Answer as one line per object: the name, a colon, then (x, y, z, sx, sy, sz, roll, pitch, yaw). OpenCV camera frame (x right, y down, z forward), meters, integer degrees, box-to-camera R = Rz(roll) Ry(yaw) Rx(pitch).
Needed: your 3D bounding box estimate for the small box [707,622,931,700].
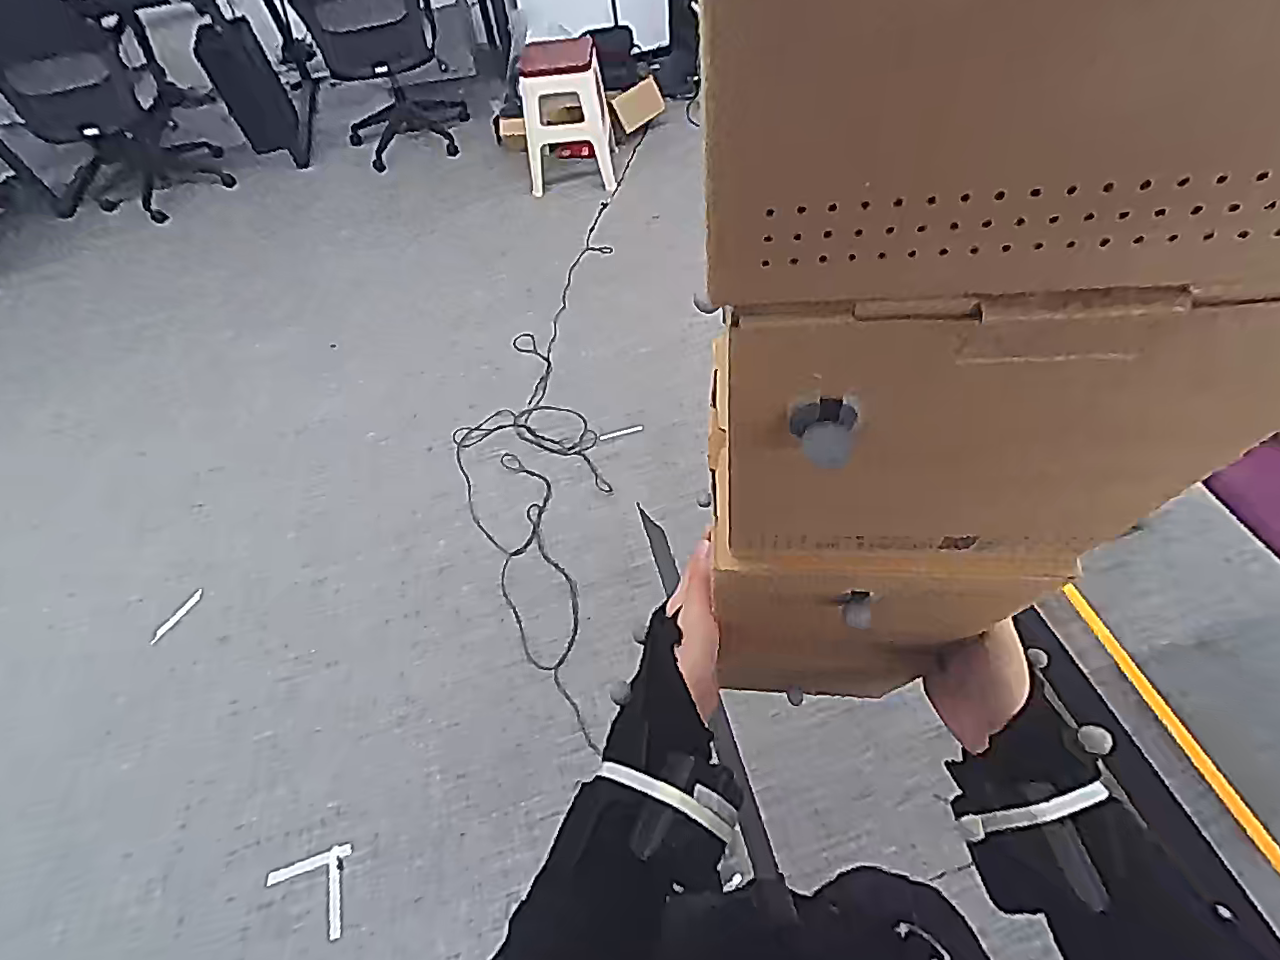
small box: (0.149, 0.102, 0.515, 0.168, 0.176, 0.179, 0, 62, 9)

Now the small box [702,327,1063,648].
small box: (0.134, 0.016, 0.377, 0.179, 0.176, 0.168, -1, 61, 9)
